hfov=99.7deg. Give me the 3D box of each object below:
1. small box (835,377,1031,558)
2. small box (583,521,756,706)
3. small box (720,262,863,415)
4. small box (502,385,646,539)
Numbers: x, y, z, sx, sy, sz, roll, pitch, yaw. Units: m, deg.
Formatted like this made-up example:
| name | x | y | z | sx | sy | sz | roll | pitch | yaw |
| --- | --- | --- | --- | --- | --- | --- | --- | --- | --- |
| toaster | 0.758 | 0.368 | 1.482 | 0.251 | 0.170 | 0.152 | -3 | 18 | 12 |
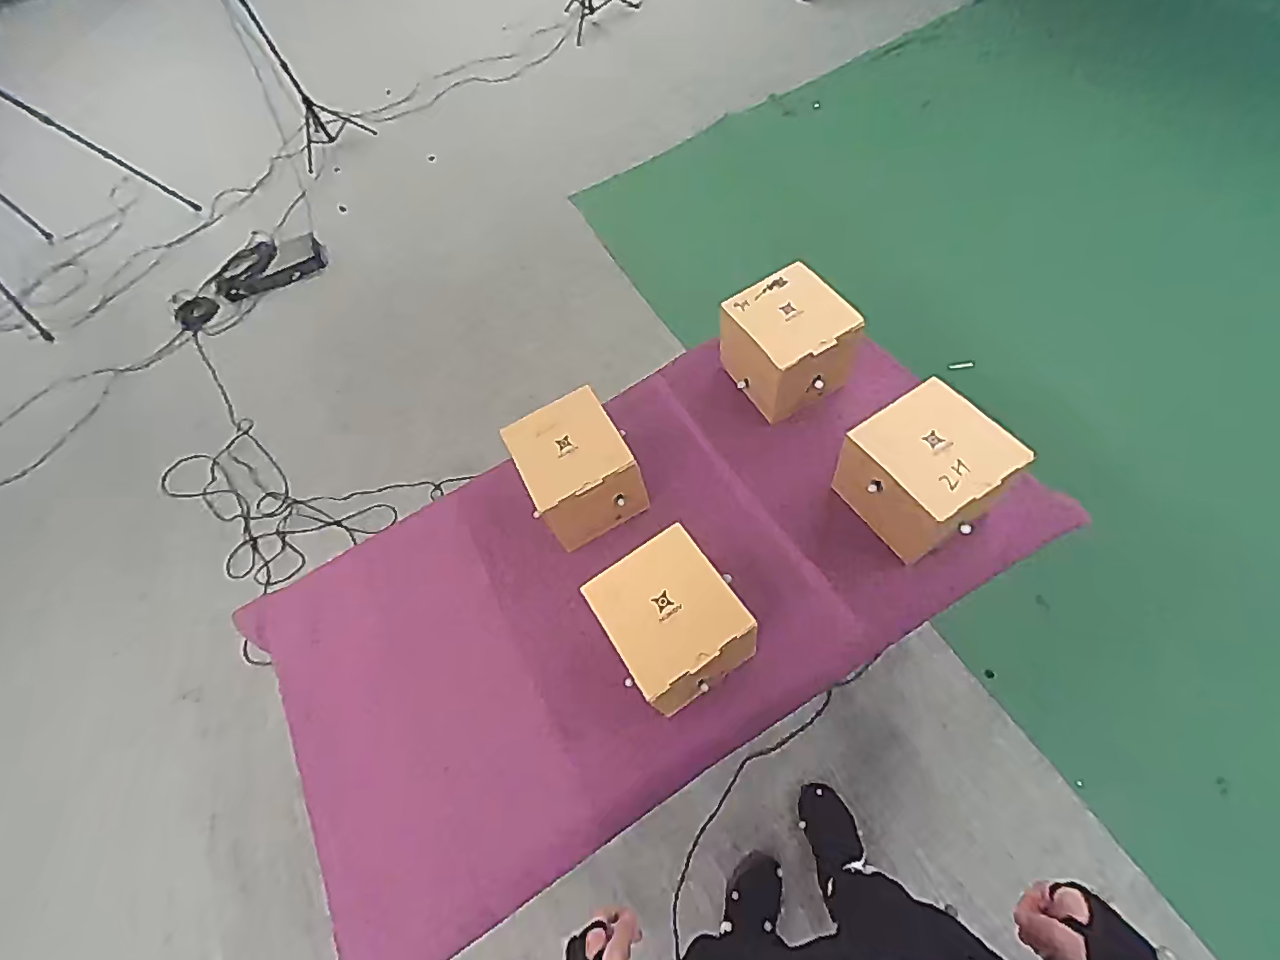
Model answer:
| name | x | y | z | sx | sy | sz | roll | pitch | yaw |
| --- | --- | --- | --- | --- | --- | --- | --- | --- | --- |
| small box | 0.419 | -0.013 | 0.813 | 0.168 | 0.176 | 0.179 | -32 | 61 | -6 |
| small box | 0.044 | 0.196 | 0.771 | 0.168 | 0.176 | 0.179 | -33 | 61 | -9 |
| small box | 0.259 | -0.240 | 0.963 | 0.168 | 0.176 | 0.179 | -30 | 64 | -7 |
| small box | -0.103 | -0.020 | 0.913 | 0.168 | 0.176 | 0.179 | -28 | 61 | -6 |
